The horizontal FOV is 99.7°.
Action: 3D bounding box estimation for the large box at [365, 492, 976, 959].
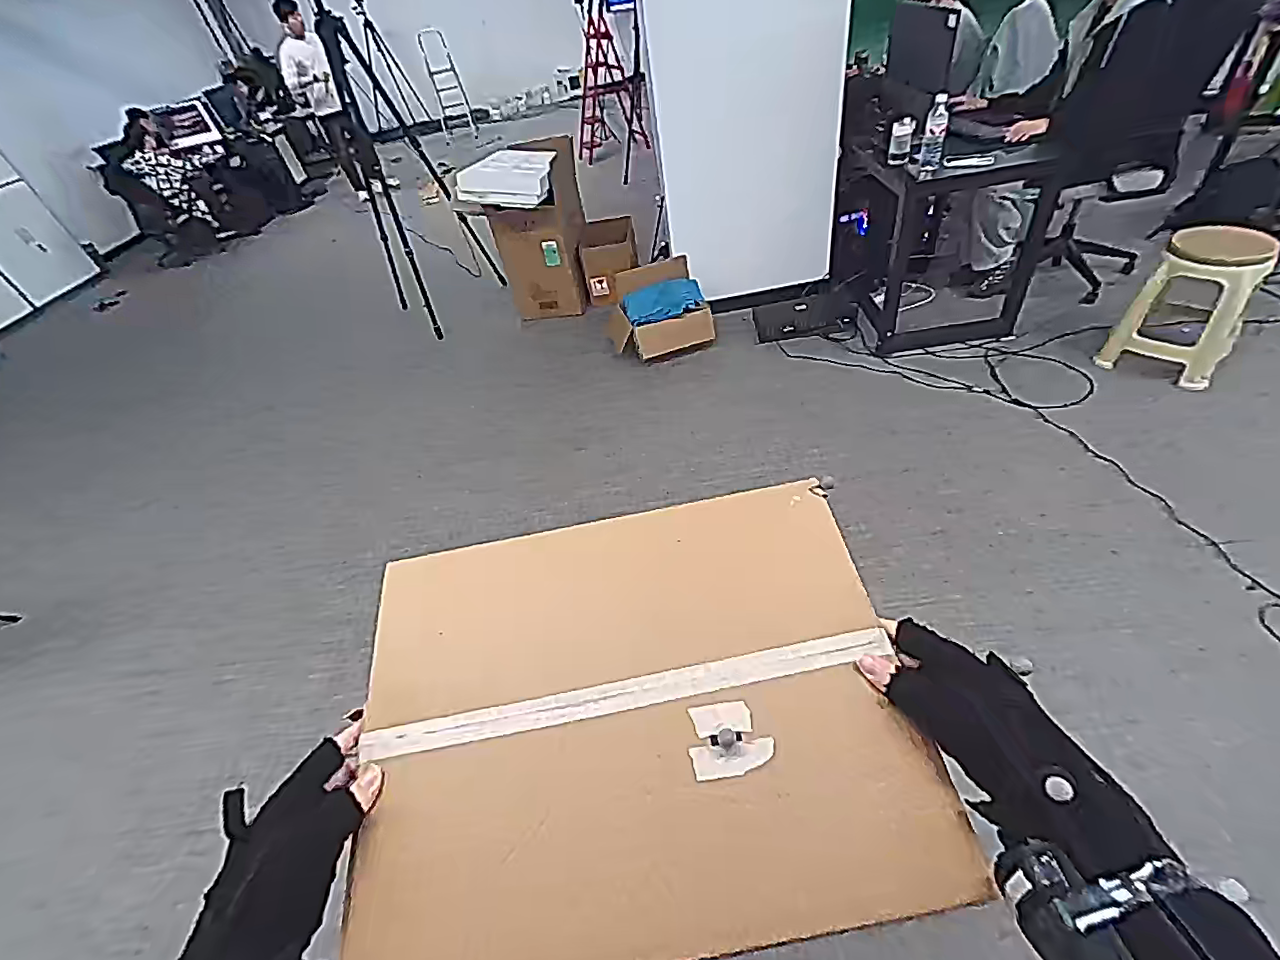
[{"bbox_3d":[0.009,0.258,0.543,0.408,0.320,0.320,-11,55,-1],"label":"large box"}]
